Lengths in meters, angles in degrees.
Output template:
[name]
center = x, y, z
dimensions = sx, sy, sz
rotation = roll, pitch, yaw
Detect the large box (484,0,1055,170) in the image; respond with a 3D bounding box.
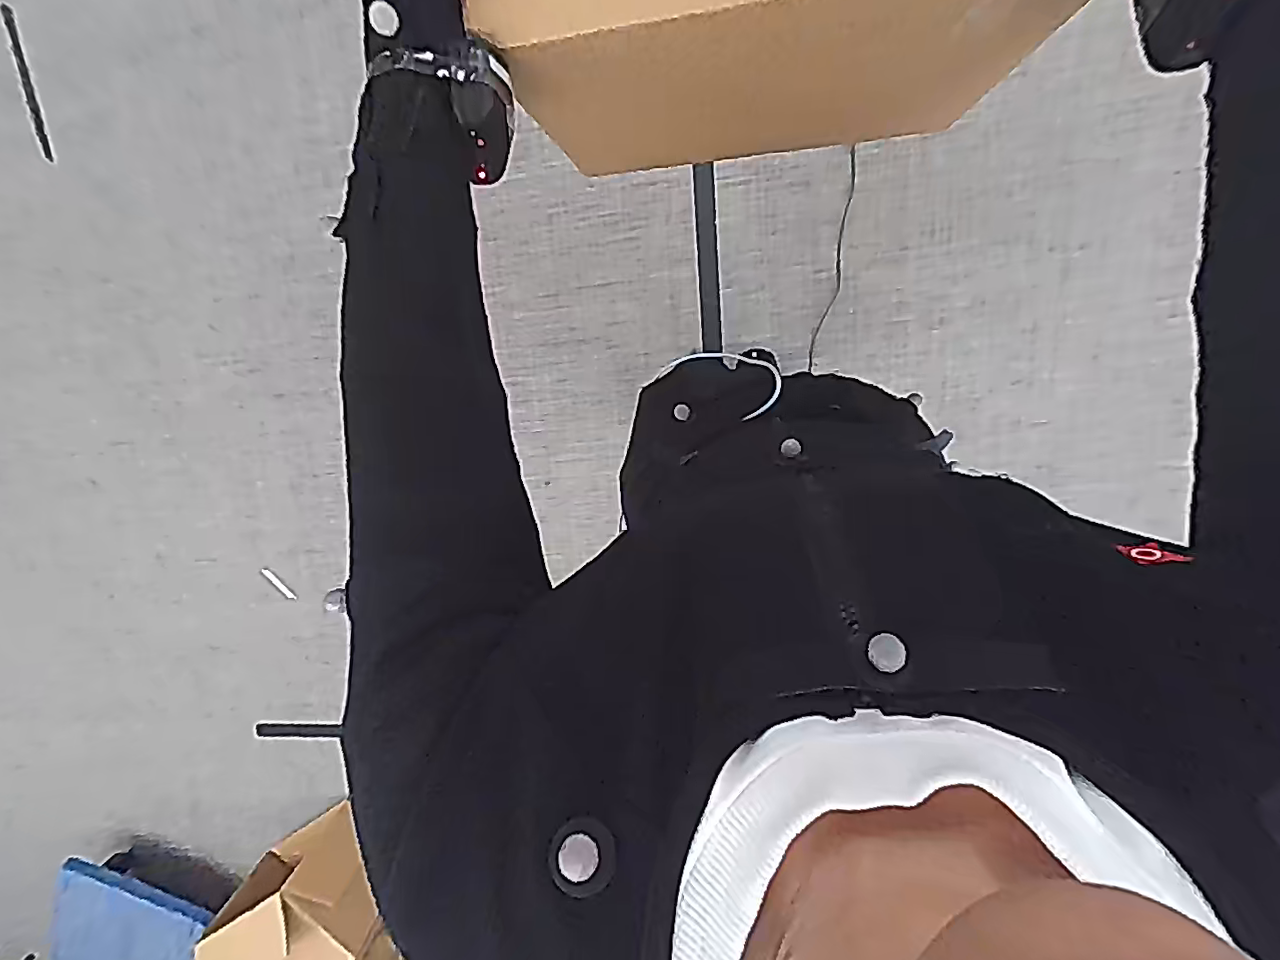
[large box]
center = 0.097, -0.487, 0.434
dimensions = 0.408, 0.320, 0.320
rotation = -3, 105, 9
